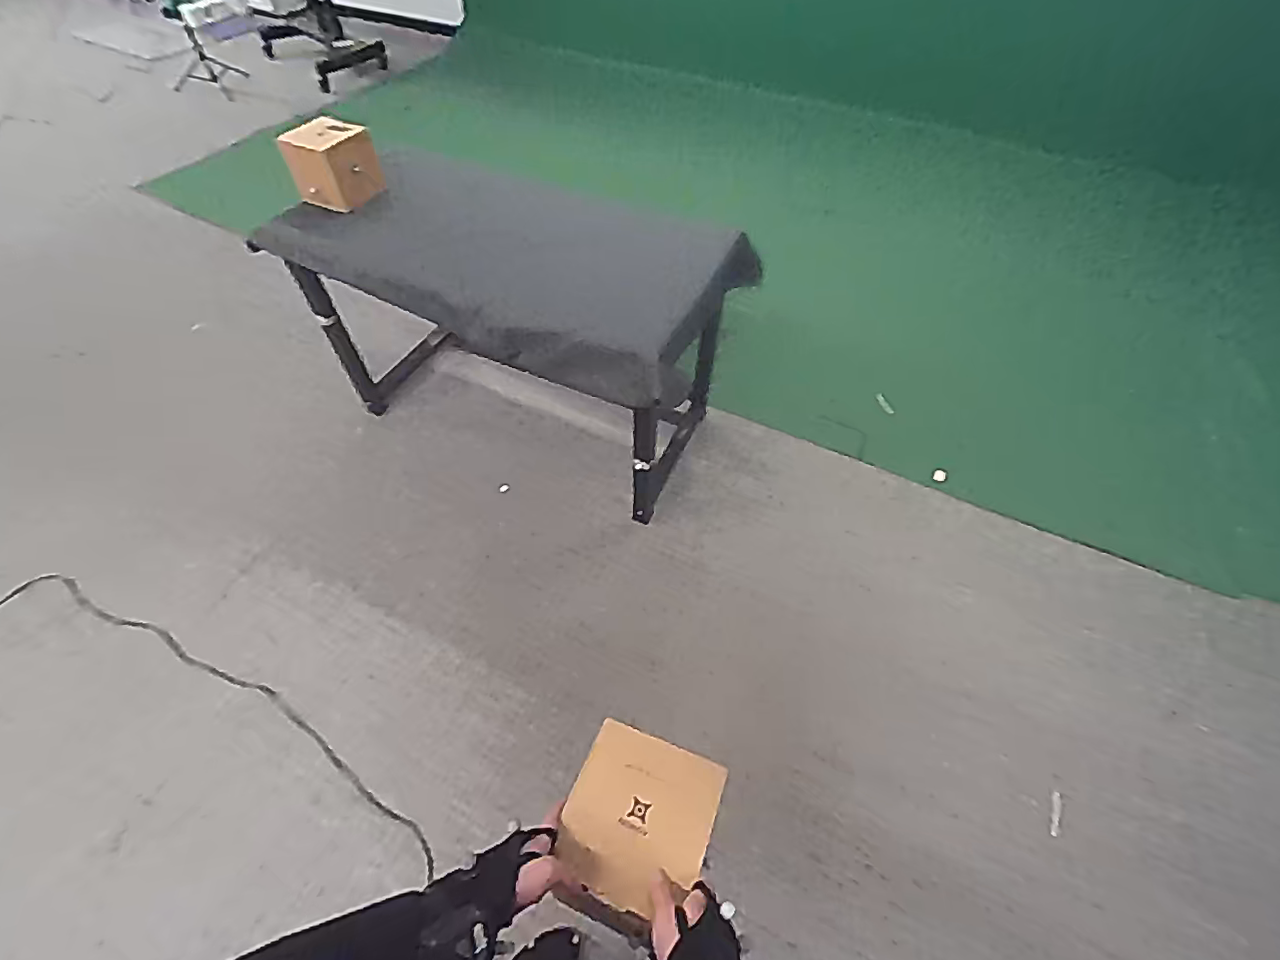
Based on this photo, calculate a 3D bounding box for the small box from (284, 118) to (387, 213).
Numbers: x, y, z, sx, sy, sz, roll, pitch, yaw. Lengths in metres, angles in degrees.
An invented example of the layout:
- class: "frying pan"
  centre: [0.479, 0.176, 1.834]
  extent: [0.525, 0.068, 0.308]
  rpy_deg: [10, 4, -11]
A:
- class: "small box"
  centre: [-0.854, -0.895, 1.542]
  extent: [0.168, 0.176, 0.179]
  rpy_deg: [21, 55, 14]

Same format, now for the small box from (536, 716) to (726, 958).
- class: "small box"
  centre: [-0.004, 0.431, 0.655]
  extent: [0.168, 0.176, 0.179]
  rpy_deg: [16, 43, 15]
